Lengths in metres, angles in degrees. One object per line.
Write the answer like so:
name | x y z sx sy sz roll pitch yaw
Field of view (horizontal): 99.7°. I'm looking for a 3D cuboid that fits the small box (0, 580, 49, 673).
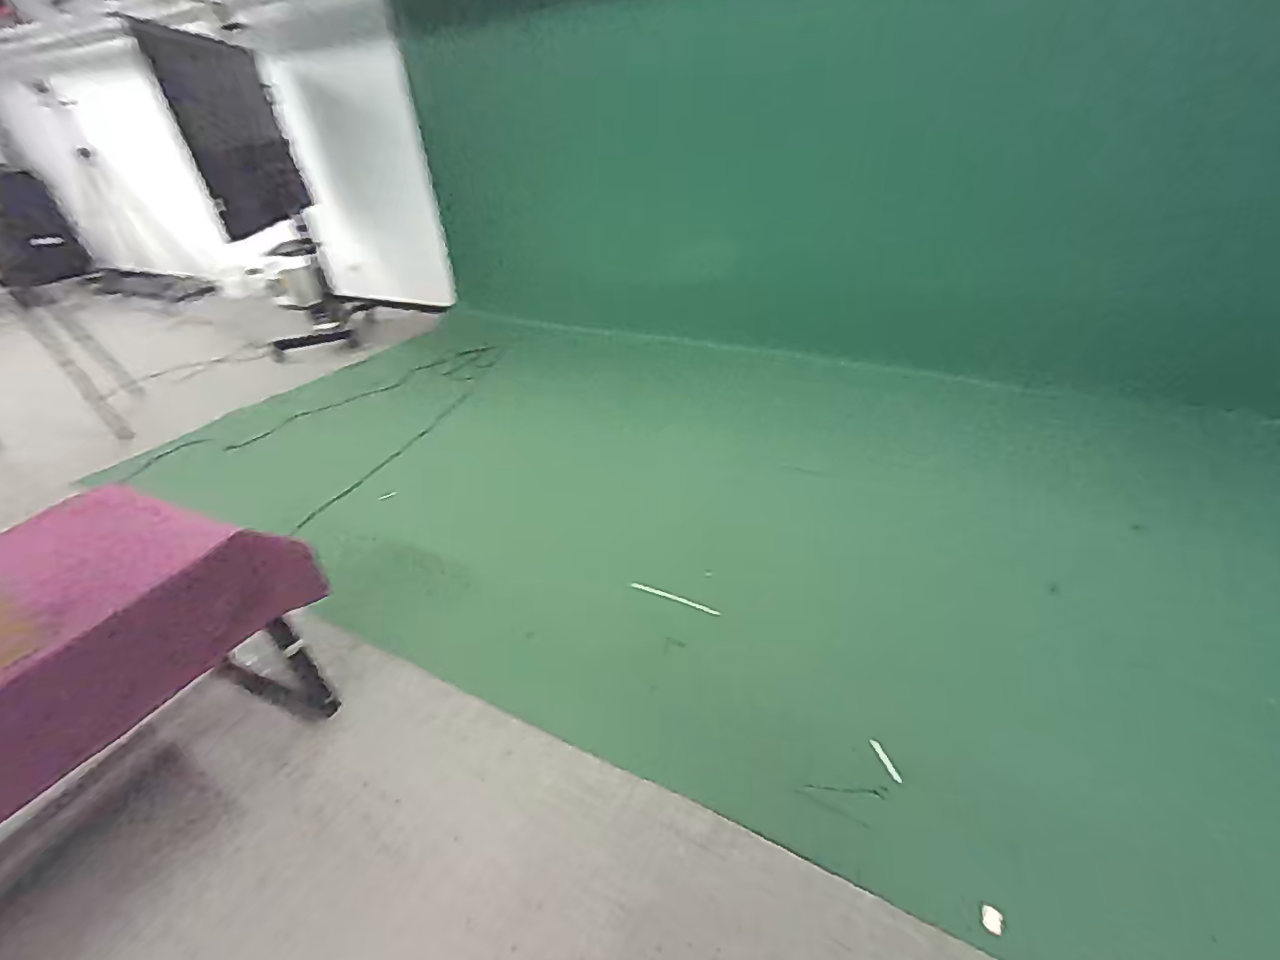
small box | -1.271 0.279 1.002 0.168 0.176 0.179 13 39 24
